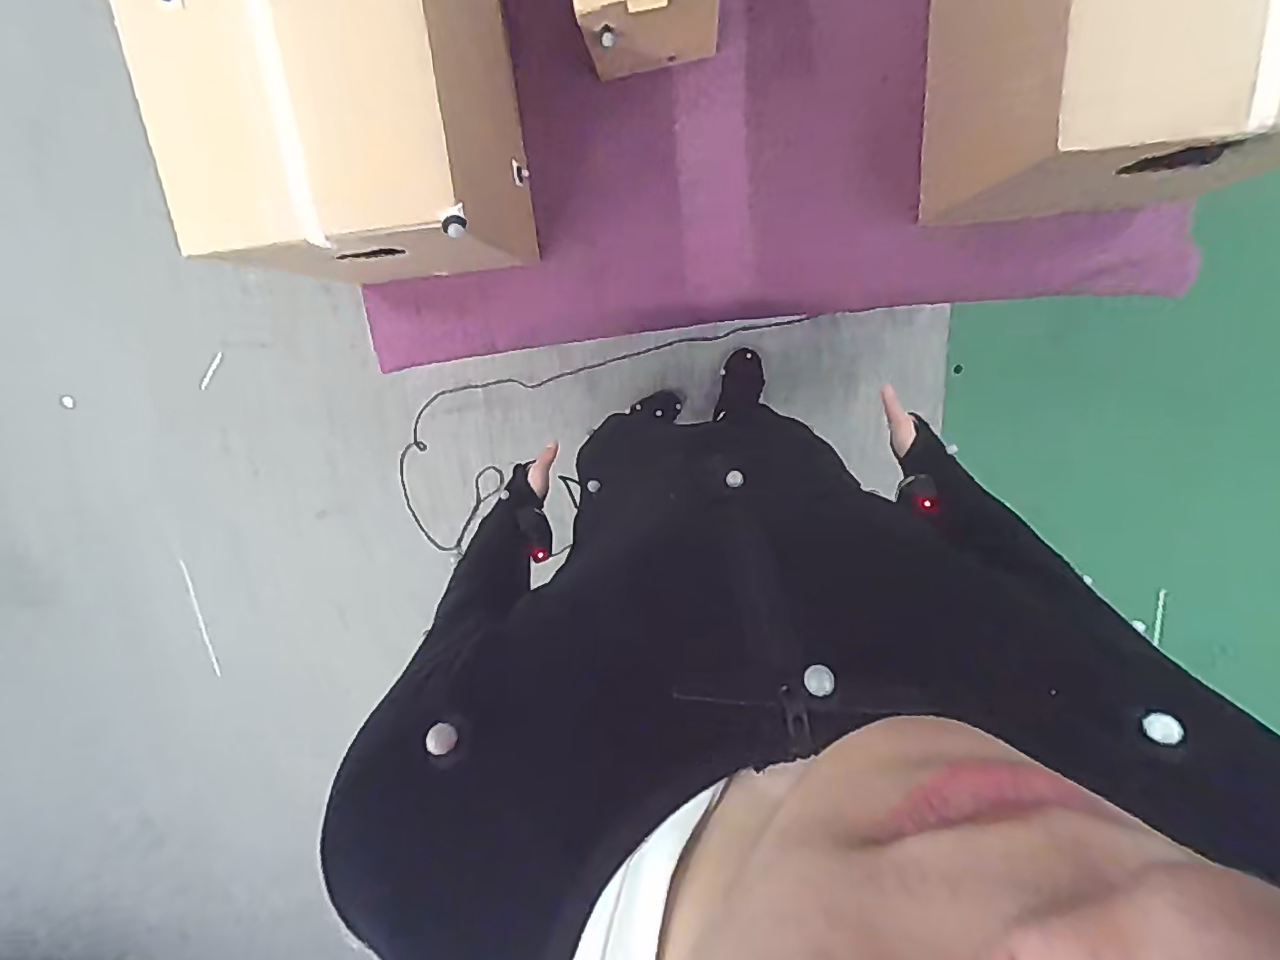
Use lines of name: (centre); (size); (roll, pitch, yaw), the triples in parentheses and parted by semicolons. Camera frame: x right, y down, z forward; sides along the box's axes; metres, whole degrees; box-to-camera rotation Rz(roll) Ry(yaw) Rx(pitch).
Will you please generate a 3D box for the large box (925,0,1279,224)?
large box: (0.522, -0.527, 0.565); (0.320, 0.320, 0.408); (-3, 104, 7)
